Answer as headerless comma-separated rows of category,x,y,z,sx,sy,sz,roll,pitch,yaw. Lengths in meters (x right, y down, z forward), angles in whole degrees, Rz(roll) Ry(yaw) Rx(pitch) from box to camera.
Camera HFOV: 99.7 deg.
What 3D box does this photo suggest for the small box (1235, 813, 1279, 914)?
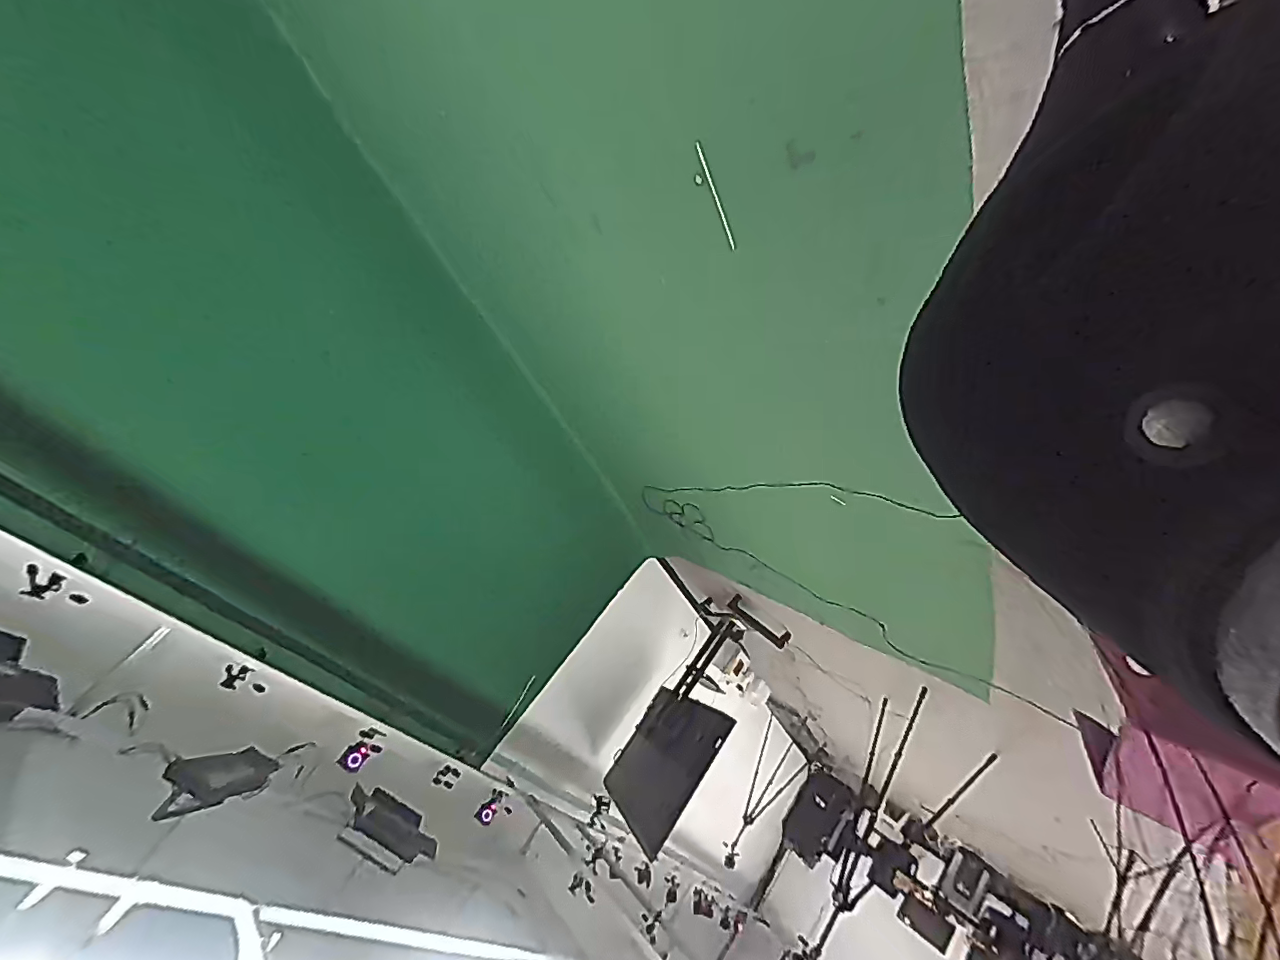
small box,1.469,0.870,1.188,0.168,0.176,0.179,21,154,42
